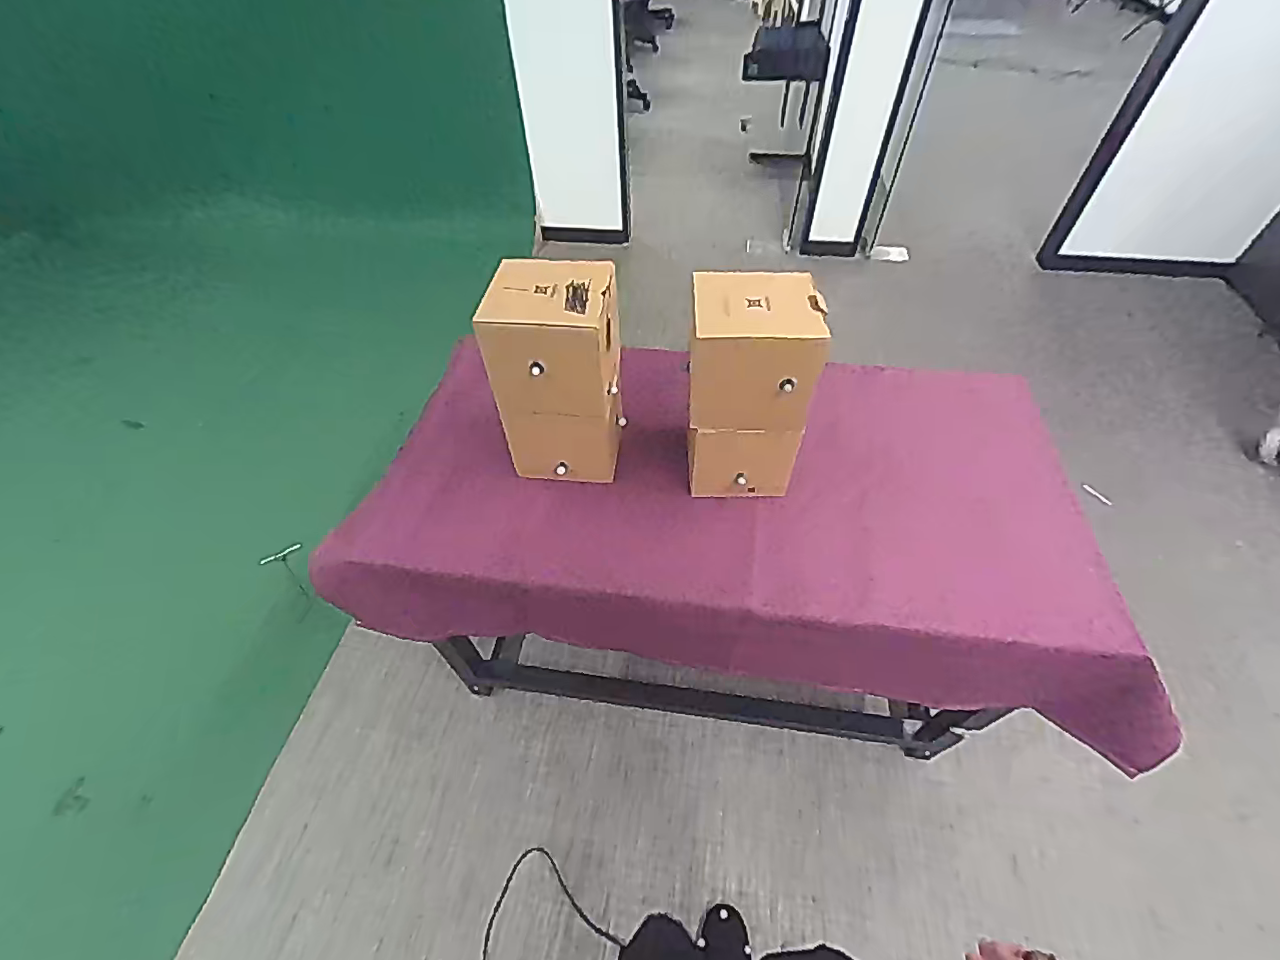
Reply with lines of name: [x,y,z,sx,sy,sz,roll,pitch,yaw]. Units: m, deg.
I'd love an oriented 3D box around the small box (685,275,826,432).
small box: [0.159,-0.185,0.808,0.179,0.176,0.168,1,50,3]

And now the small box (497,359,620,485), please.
small box: [-0.132,-0.106,0.962,0.179,0.176,0.168,4,51,5]

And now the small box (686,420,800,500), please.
small box: [0.166,-0.085,0.937,0.168,0.176,0.179,0,52,2]

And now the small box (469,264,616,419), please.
small box: [-0.134,-0.209,0.834,0.179,0.176,0.168,4,52,6]
